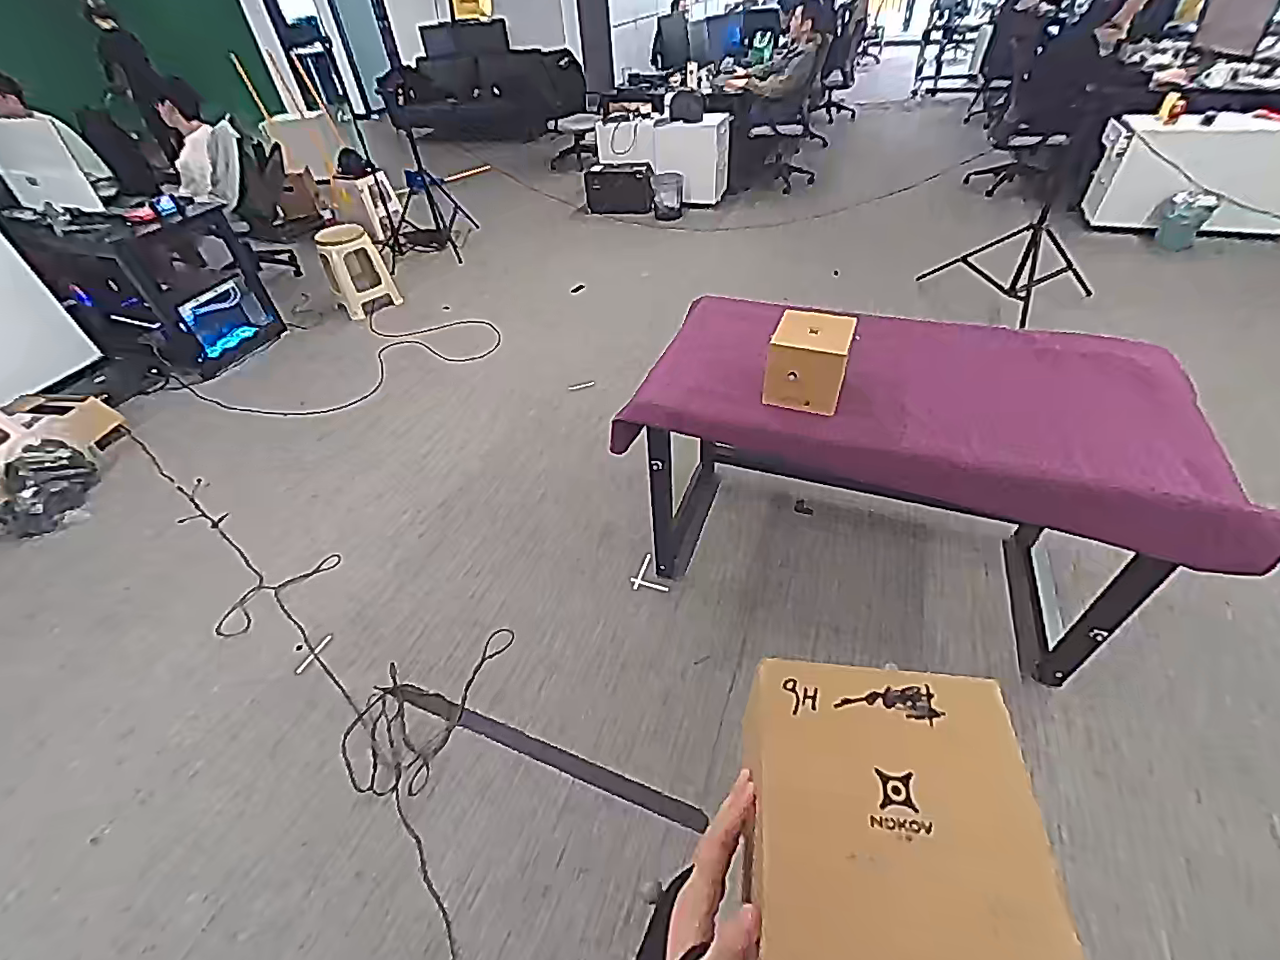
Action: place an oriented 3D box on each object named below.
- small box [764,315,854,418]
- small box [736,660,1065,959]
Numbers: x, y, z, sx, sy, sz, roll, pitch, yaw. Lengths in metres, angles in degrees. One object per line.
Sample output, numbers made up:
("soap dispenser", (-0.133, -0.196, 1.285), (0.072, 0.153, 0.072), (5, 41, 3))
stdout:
("small box", (0.397, -0.269, 1.283), (0.168, 0.176, 0.179), (14, 45, 18))
("small box", (0.161, 0.256, 0.400), (0.168, 0.176, 0.179), (3, 50, 7))
